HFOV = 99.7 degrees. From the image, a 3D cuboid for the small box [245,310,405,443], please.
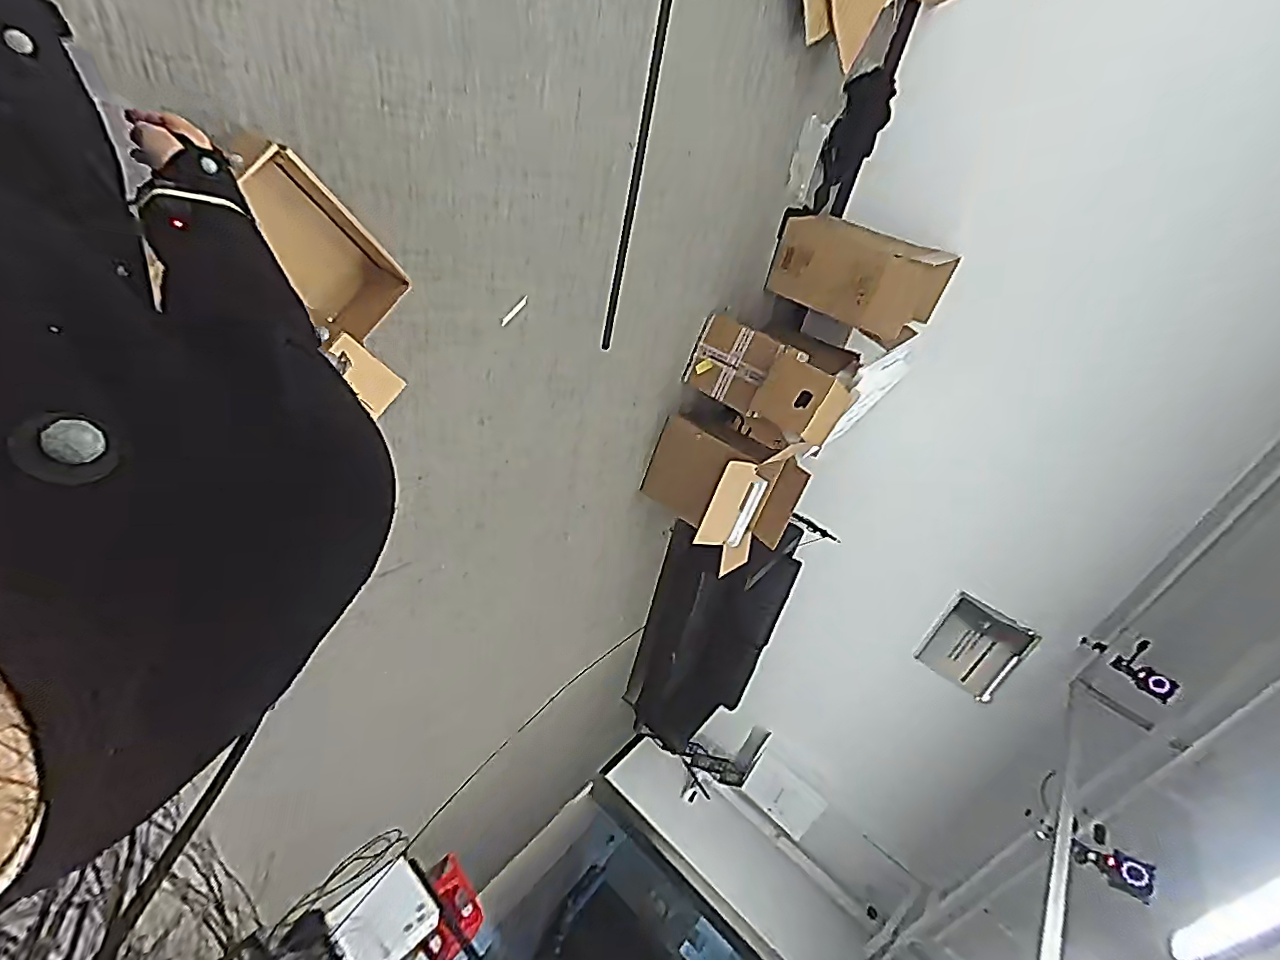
[{"bbox_3d":[-0.611,-0.206,1.053,0.168,0.176,0.179,-53,154,-9],"label":"small box"}]
